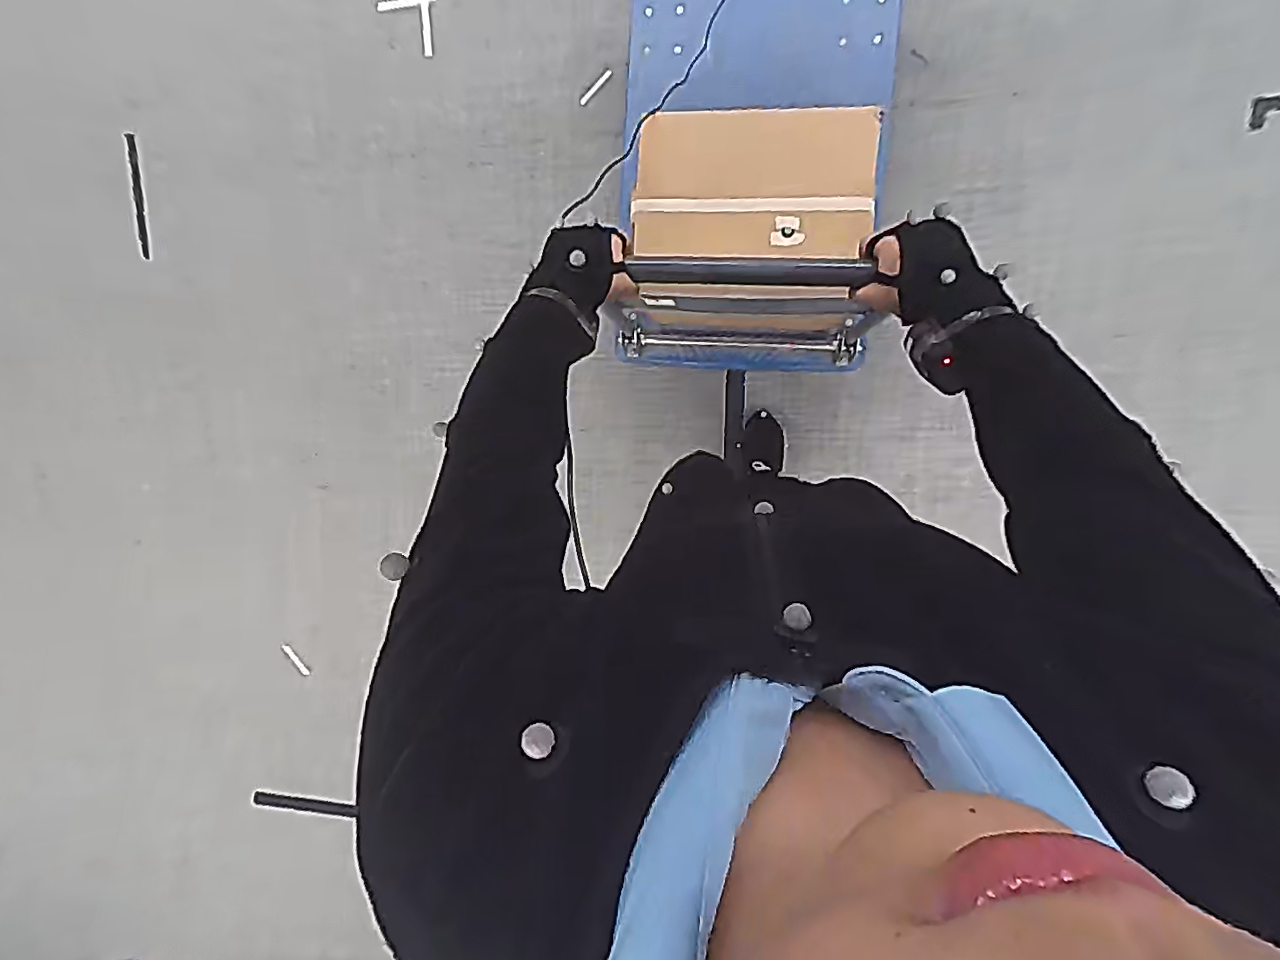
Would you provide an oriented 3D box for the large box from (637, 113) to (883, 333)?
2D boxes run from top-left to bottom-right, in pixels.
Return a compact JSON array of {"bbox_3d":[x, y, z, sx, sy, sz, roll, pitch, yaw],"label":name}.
[{"bbox_3d":[0.216,-0.474,1.072,0.408,0.320,0.320,4,97,8],"label":"large box"}]
